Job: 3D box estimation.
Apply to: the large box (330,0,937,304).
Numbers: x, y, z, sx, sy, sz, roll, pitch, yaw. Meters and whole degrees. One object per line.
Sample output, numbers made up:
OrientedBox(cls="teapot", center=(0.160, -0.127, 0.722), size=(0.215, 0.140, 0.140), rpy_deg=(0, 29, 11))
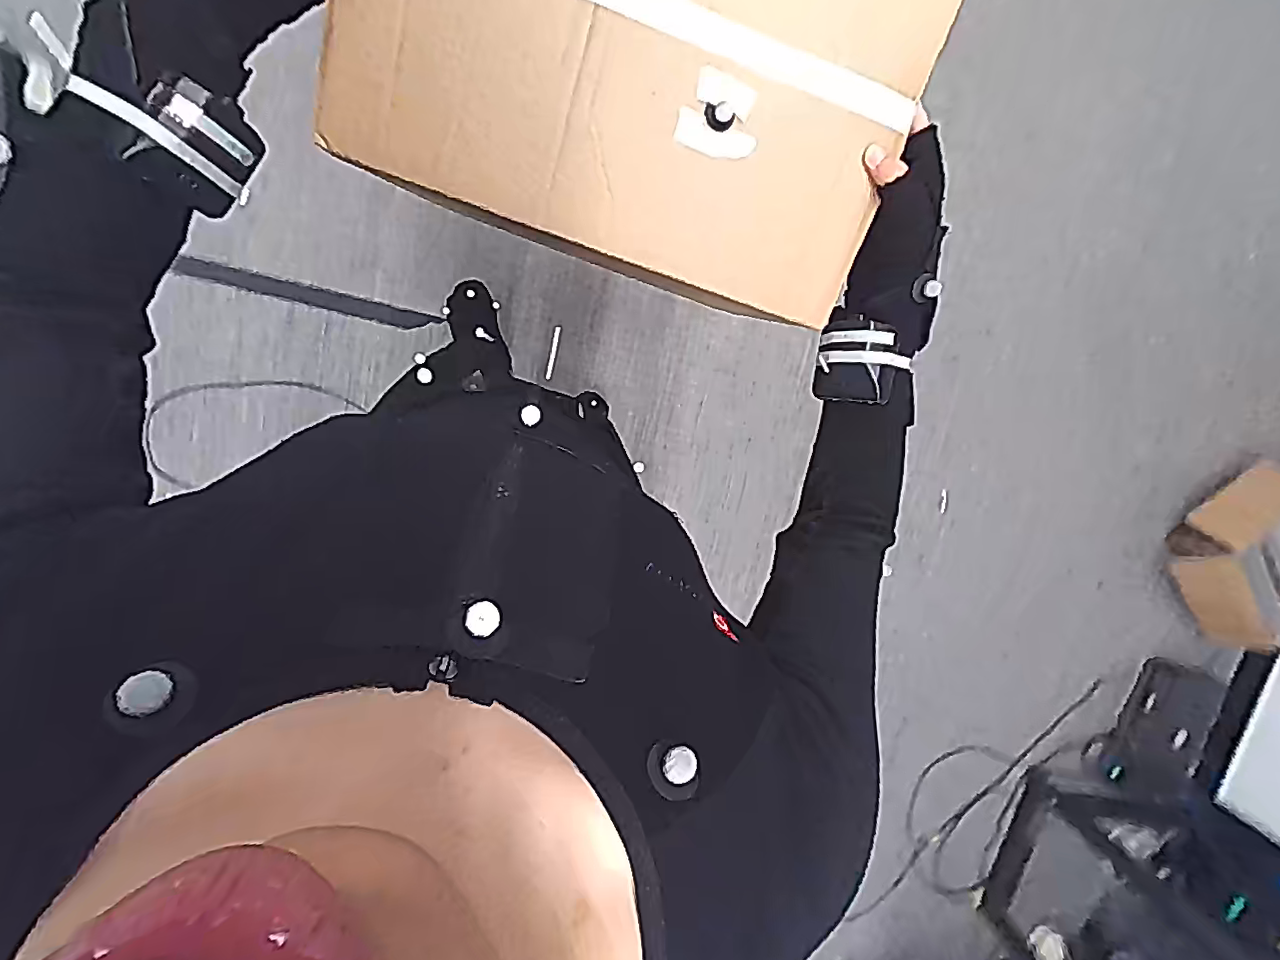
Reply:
OrientedBox(cls="large box", center=(-0.007, -0.382, 0.519), size=(0.408, 0.320, 0.320), rpy_deg=(15, 109, -9))
